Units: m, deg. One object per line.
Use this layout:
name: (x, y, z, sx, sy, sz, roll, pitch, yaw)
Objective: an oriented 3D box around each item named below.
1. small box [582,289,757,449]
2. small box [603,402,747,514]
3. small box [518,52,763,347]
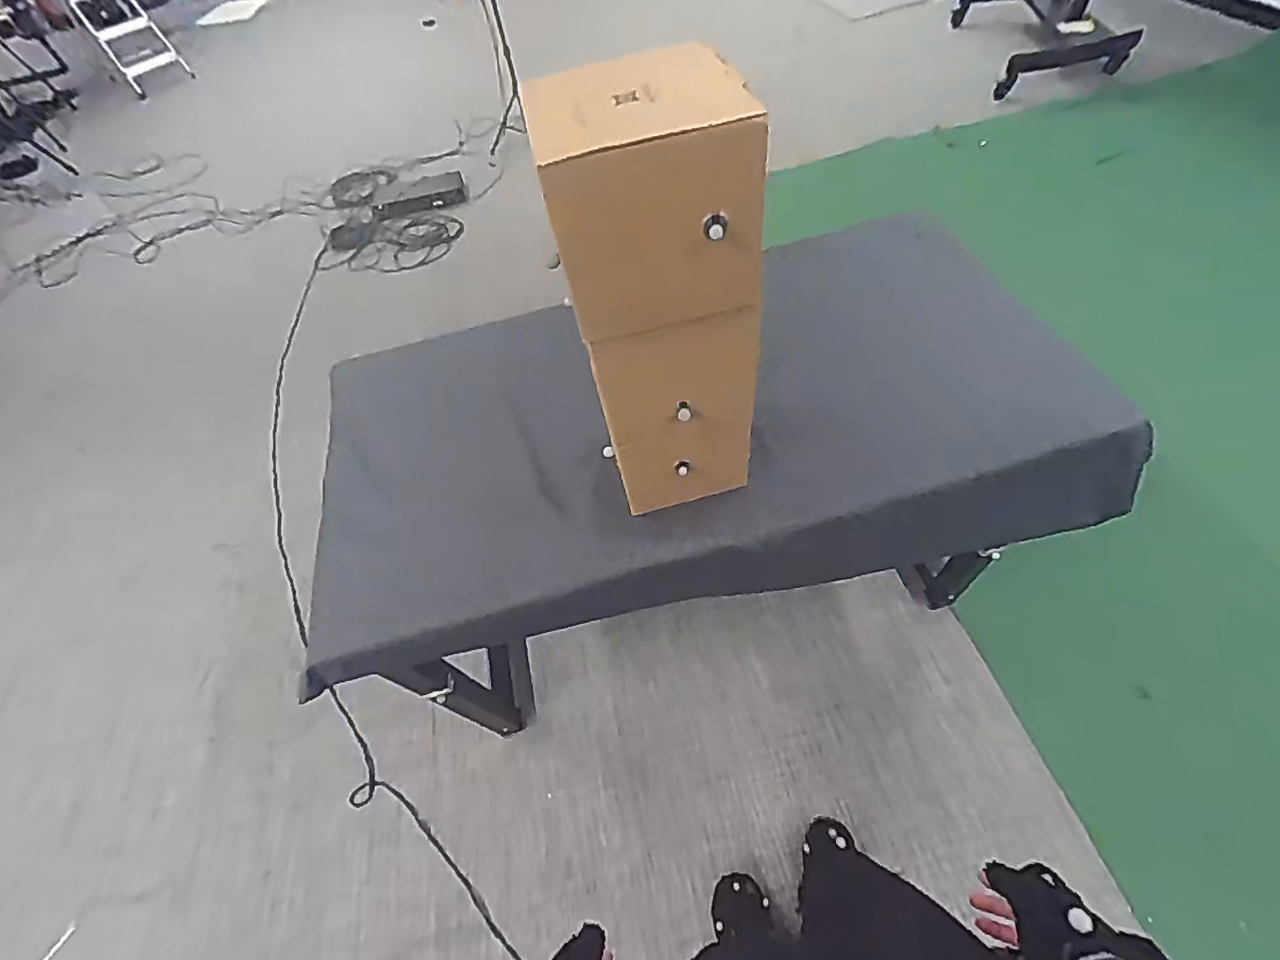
small box: (0.023, -0.163, 0.640, 0.179, 0.176, 0.168, -17, 56, -3)
small box: (0.041, -0.076, 0.773, 0.179, 0.176, 0.168, -15, 55, -1)
small box: (0.001, -0.253, 0.503, 0.179, 0.176, 0.168, -15, 54, 0)
